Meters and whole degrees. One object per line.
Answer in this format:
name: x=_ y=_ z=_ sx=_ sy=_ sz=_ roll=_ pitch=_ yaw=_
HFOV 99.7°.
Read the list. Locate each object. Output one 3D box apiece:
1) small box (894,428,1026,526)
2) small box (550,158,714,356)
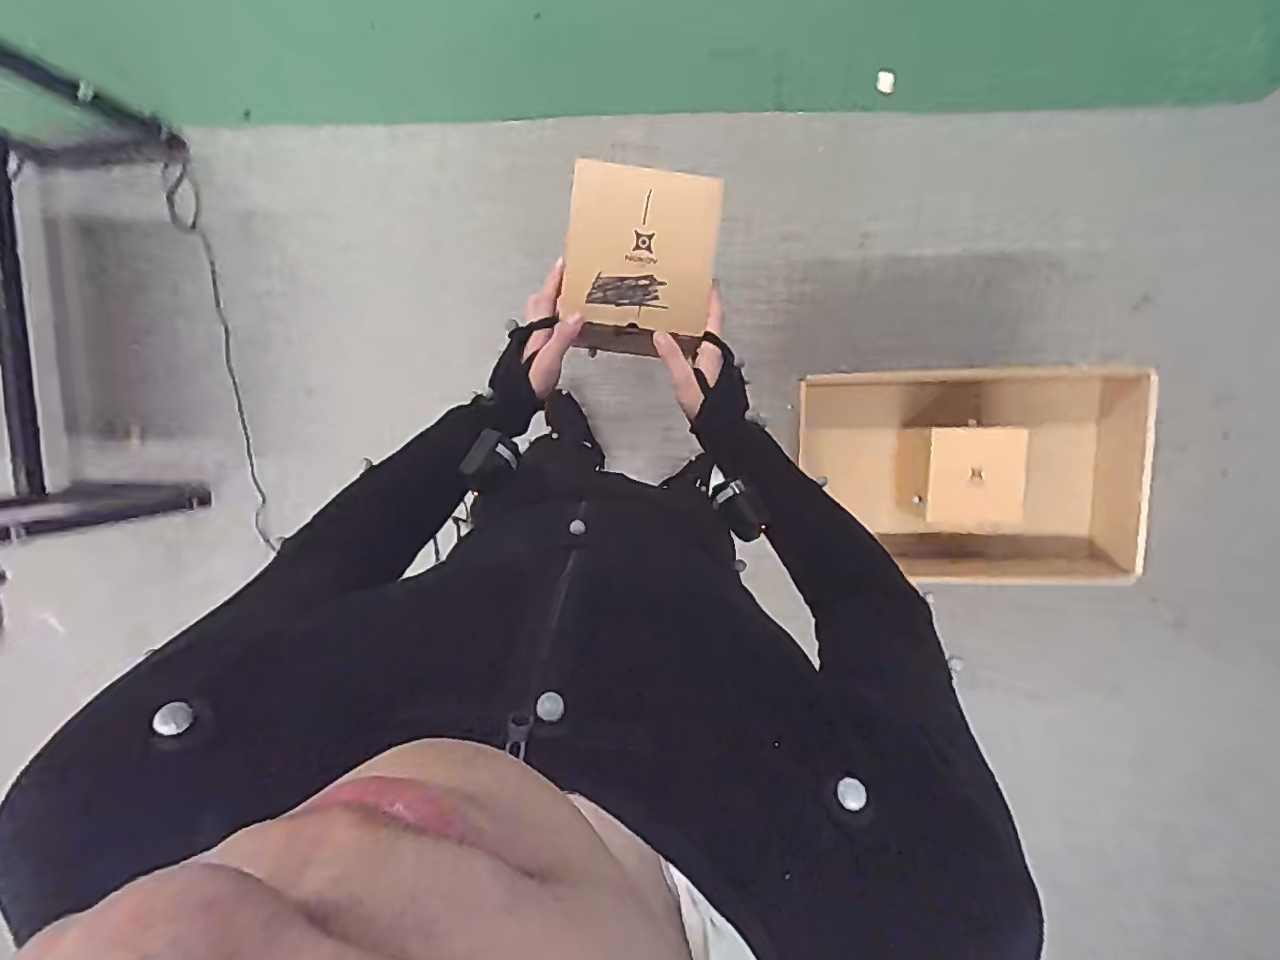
small box: x=0.611 y=-0.012 z=1.052 sx=0.168 sy=0.176 sz=0.179 roll=0 pitch=97 yaw=6
small box: x=-0.011 y=-0.255 z=0.663 sx=0.168 sy=0.176 sz=0.179 roll=5 pitch=93 yaw=-3
